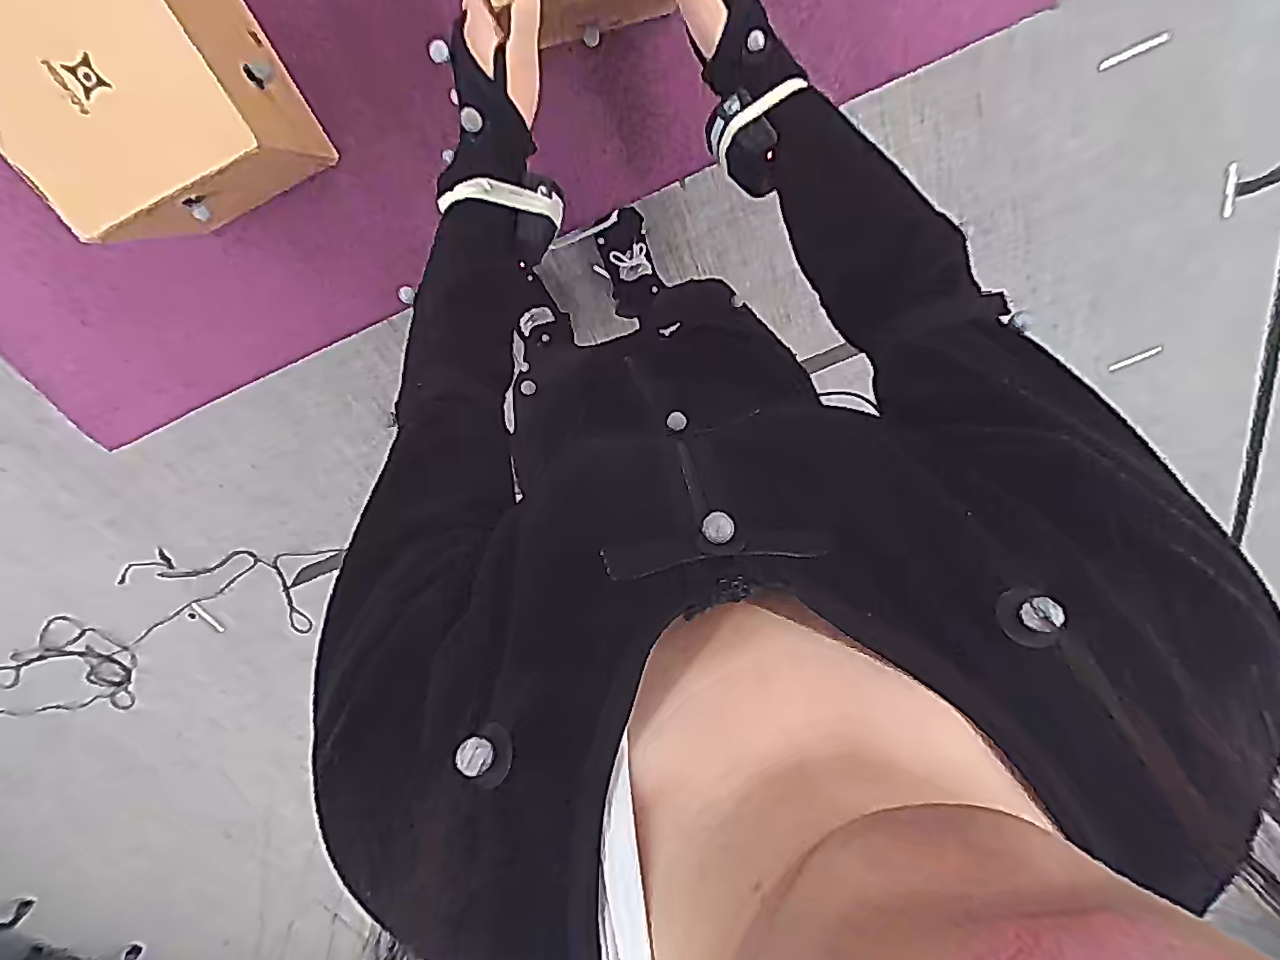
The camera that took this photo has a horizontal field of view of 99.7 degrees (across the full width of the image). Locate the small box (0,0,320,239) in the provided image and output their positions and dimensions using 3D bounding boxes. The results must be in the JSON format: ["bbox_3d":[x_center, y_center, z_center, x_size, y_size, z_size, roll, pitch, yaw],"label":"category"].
[{"bbox_3d":[-0.413,-0.331,0.462,0.179,0.176,0.168,-23,118,7],"label":"small box"}]

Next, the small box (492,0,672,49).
[{"bbox_3d":[-0.059,-0.478,0.422,0.168,0.176,0.179,-14,120,1],"label":"small box"}]
